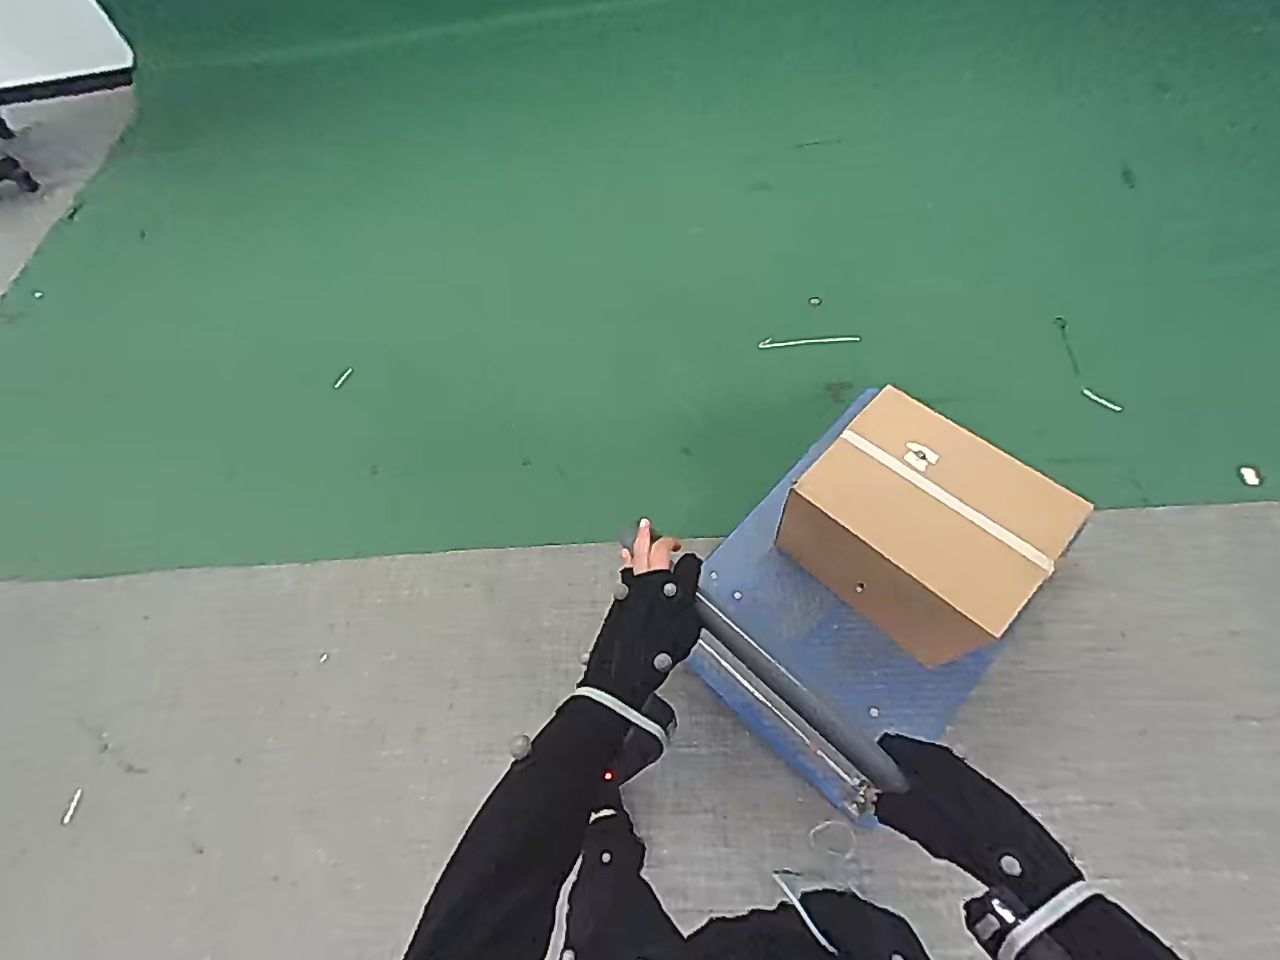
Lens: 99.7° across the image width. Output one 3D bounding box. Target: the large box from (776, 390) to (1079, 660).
[{"bbox_3d":[0.542,0.098,1.109,0.320,0.320,0.408,-43,64,-15],"label":"large box"}]
